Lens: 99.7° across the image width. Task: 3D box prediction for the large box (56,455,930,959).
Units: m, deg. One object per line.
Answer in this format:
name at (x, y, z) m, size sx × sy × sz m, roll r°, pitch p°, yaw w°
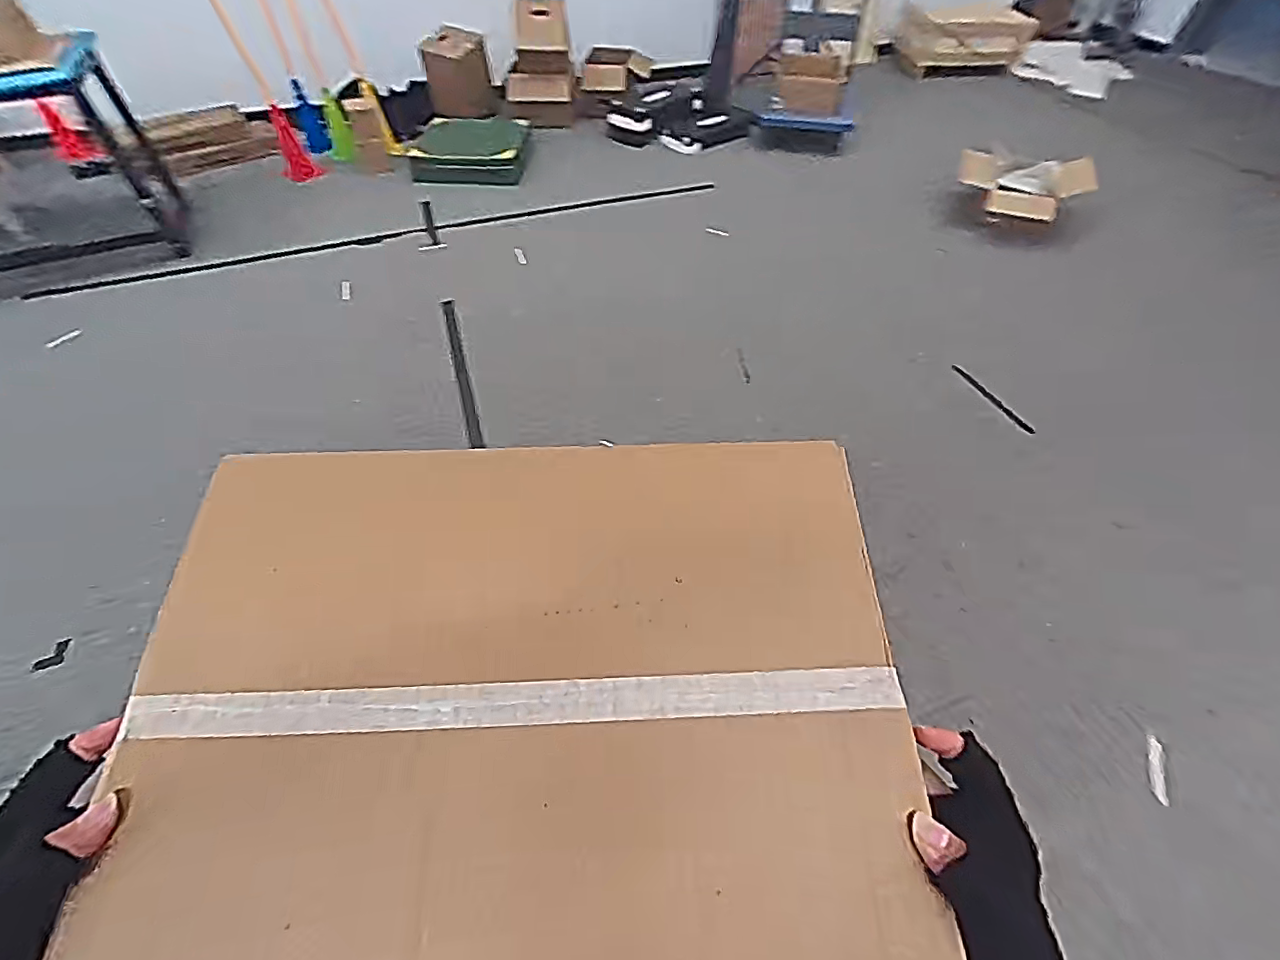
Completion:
large box at (-0.071, 0.196, 0.426) m, size 0.408 × 0.320 × 0.320 m, roll -2°, pitch 62°, yaw -2°
